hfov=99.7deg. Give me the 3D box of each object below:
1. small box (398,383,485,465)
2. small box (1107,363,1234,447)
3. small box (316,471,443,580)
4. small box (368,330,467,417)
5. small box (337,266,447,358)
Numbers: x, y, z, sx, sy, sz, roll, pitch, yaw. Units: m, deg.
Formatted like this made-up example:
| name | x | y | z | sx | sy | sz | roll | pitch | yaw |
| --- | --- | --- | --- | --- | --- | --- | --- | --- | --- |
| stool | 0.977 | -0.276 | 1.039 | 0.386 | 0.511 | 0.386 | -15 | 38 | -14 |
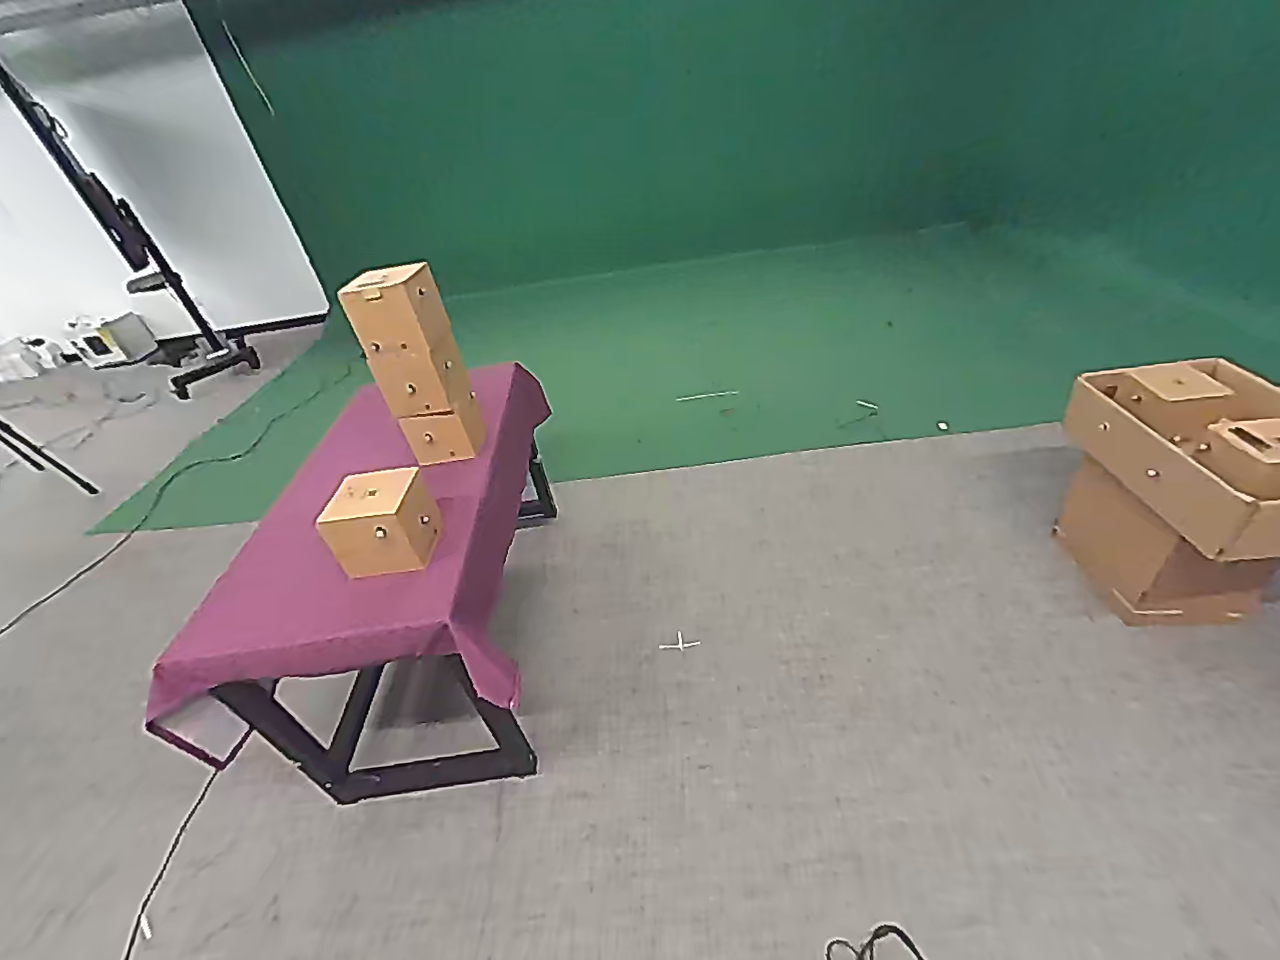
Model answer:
| name | x | y | z | sx | sy | sz | roll | pitch | yaw |
| --- | --- | --- | --- | --- | --- | --- | --- | --- | --- |
| small box | -0.559 | -0.155 | 1.552 | 0.168 | 0.176 | 0.179 | -9 | 36 | 3 |
| small box | 1.490 | -0.212 | 1.536 | 0.168 | 0.176 | 0.179 | -6 | 38 | 8 |
| small box | -0.568 | 0.104 | 1.211 | 0.179 | 0.176 | 0.168 | -8 | 36 | 4 |
| small box | -0.584 | -0.280 | 1.448 | 0.168 | 0.176 | 0.179 | -6 | 37 | 6 |
| small box | -0.608 | -0.415 | 1.356 | 0.168 | 0.176 | 0.179 | -7 | 36 | 6 |
